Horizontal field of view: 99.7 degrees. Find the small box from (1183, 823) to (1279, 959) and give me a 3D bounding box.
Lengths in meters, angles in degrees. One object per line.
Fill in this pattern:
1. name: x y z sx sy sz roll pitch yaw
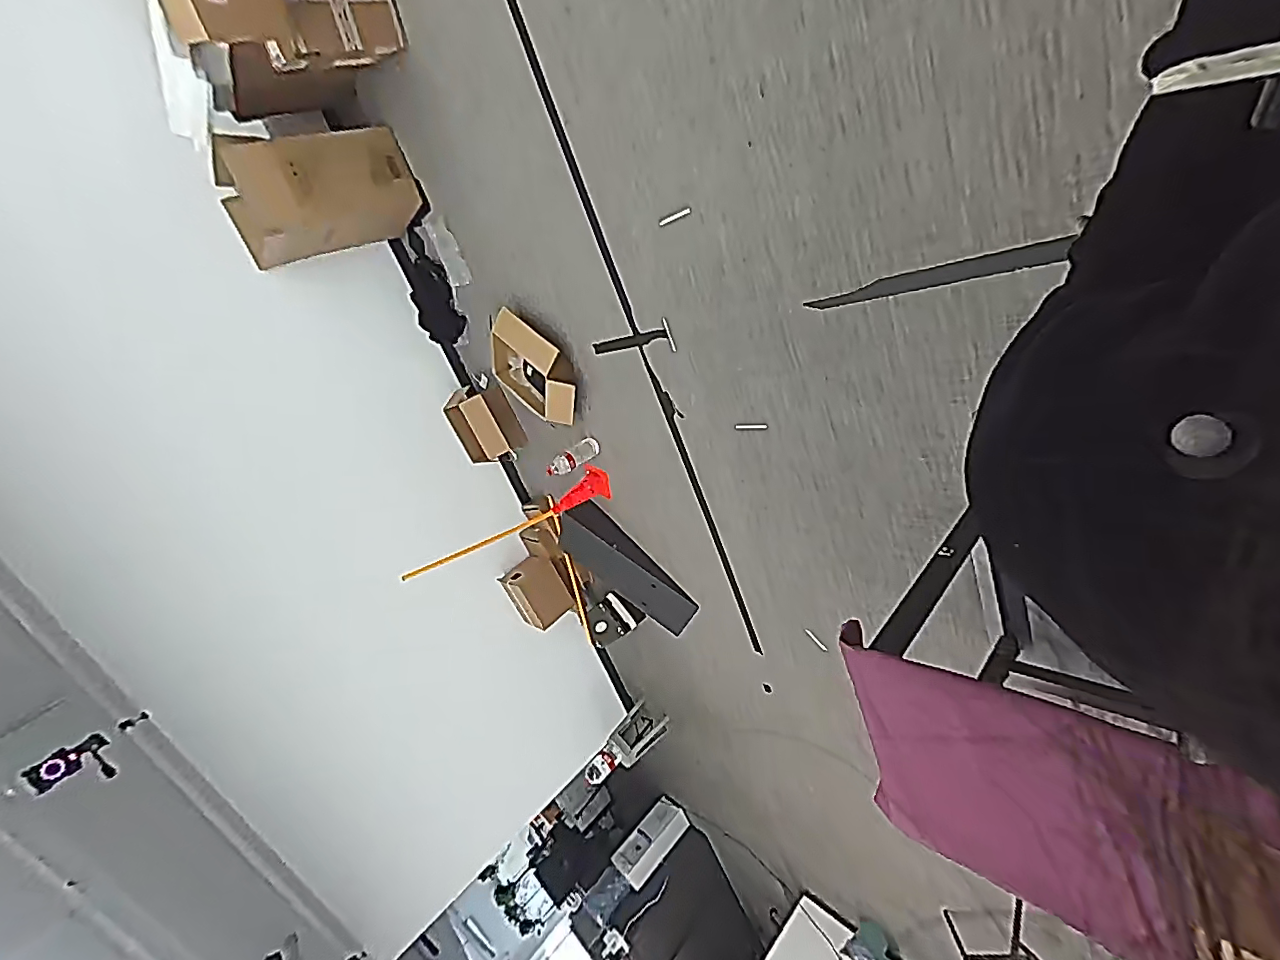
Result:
1. small box: 0.869 0.625 0.735 0.168 0.176 0.179 7 125 48
